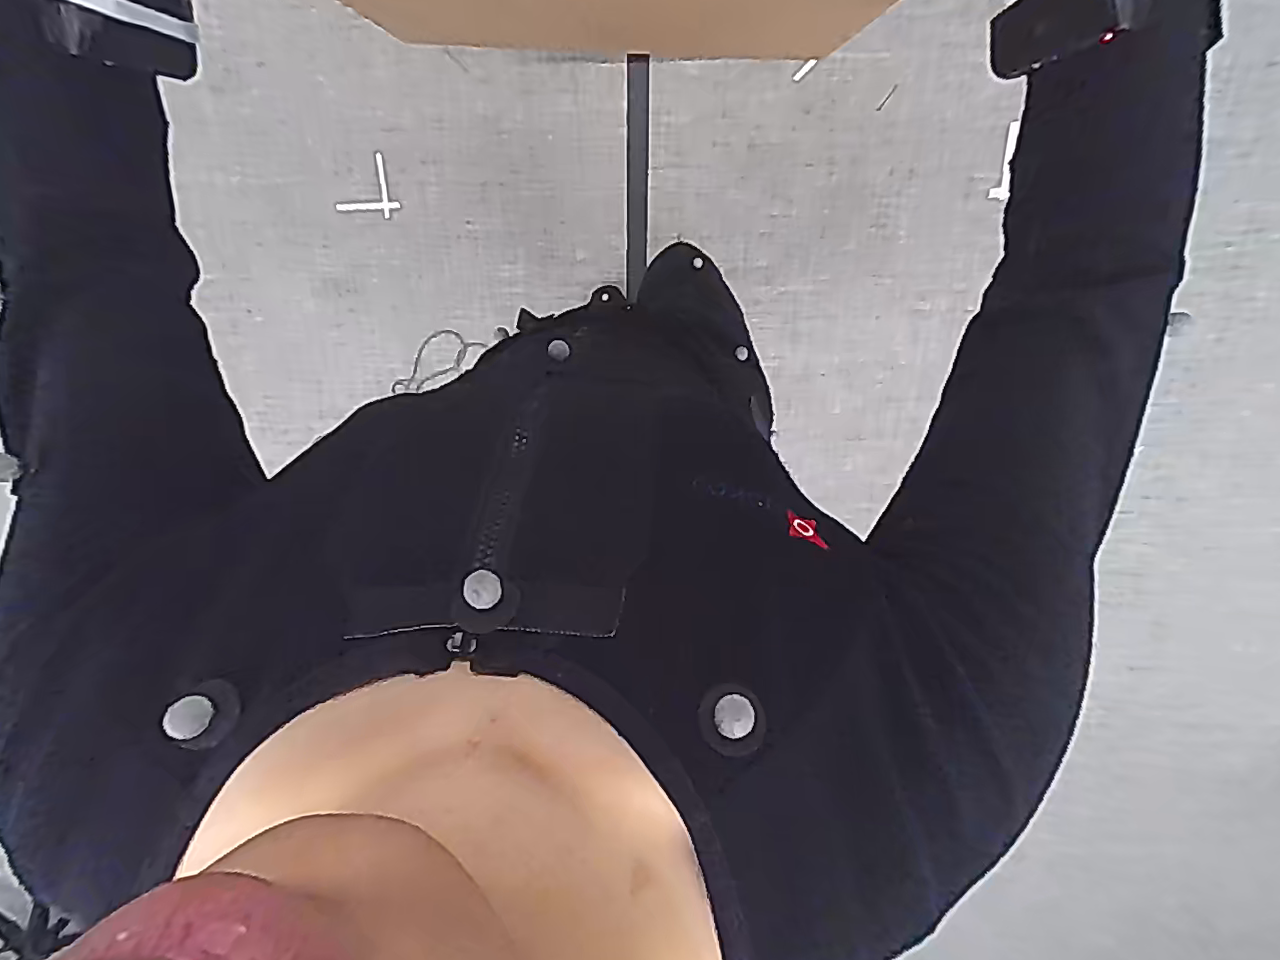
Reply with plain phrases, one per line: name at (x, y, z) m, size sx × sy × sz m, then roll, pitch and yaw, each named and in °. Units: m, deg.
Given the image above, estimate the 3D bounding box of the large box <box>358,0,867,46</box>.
large box at (-0.022, -0.483, 0.314) m, size 0.408 × 0.320 × 0.320 m, roll 1°, pitch 118°, yaw 0°
